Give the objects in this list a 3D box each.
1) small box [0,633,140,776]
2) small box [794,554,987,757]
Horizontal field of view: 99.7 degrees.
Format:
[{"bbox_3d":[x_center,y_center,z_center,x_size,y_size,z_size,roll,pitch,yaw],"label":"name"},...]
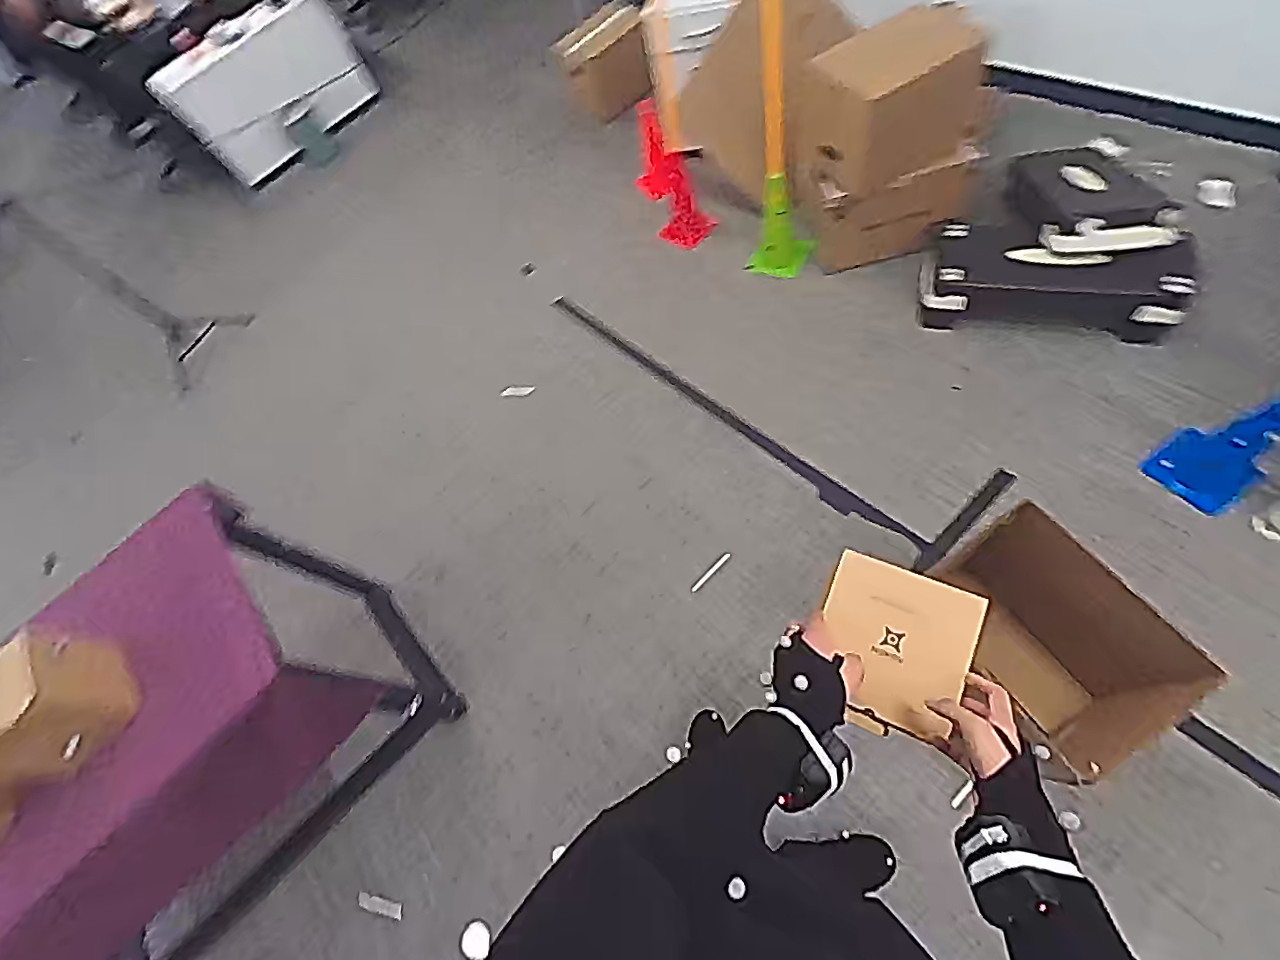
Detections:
[{"bbox_3d":[-1.075,0.412,0.982,0.168,0.176,0.179,-45,61,-10],"label":"small box"},{"bbox_3d":[0.302,0.217,0.689,0.168,0.176,0.179,20,77,18],"label":"small box"}]
